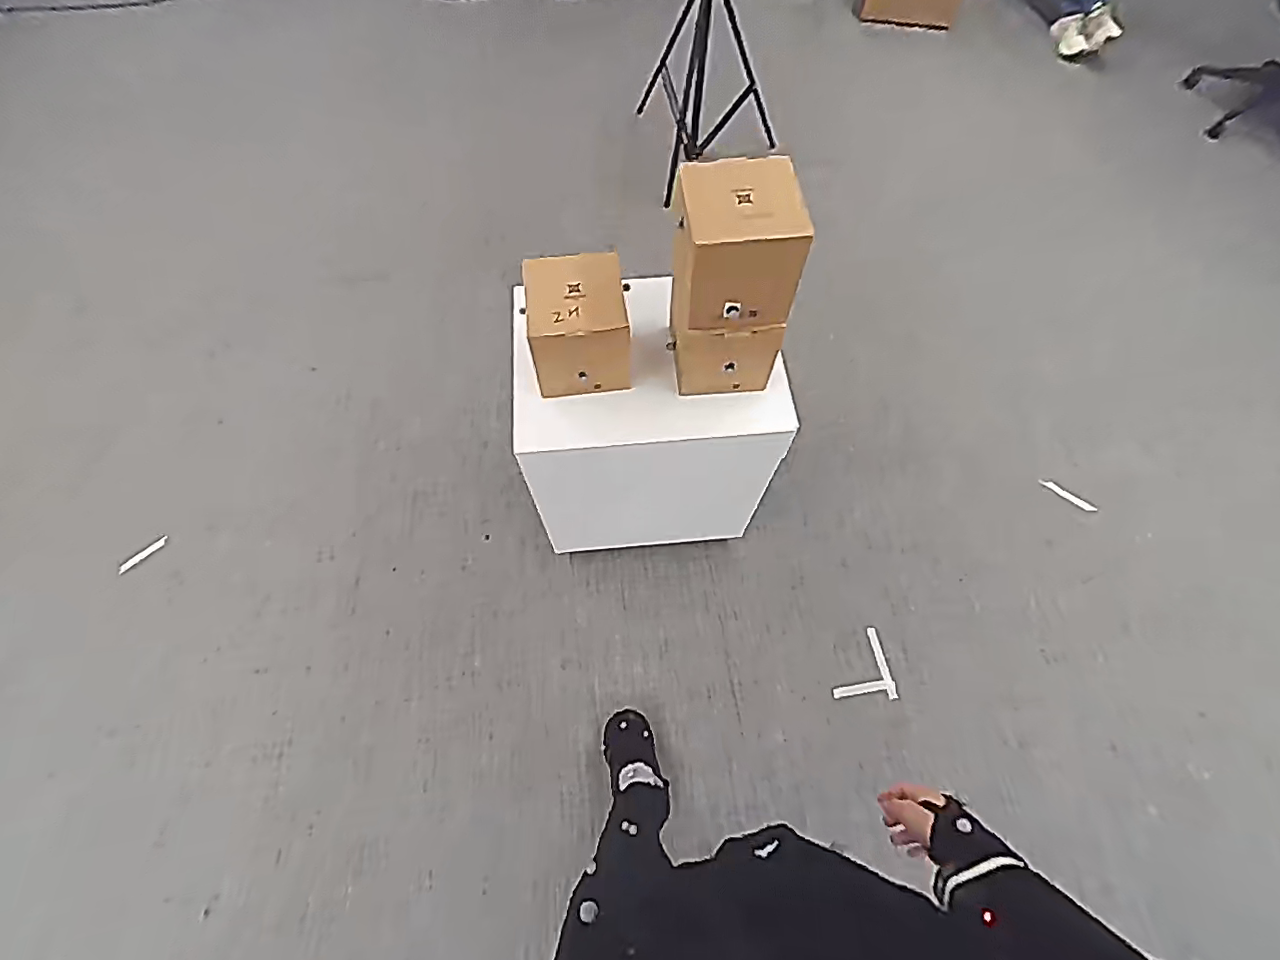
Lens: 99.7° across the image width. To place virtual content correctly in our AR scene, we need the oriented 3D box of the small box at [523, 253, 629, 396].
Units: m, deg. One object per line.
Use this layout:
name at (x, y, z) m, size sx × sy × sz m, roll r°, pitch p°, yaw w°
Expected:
small box at (-0.112, -0.273, 0.964) m, size 0.168 × 0.176 × 0.179 m, roll -7°, pitch 65°, yaw -4°

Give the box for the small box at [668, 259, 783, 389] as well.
small box at (0.143, -0.275, 0.968) m, size 0.168 × 0.176 × 0.179 m, roll -4°, pitch 65°, yaw -3°

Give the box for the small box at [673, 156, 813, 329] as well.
small box at (0.144, -0.357, 0.828) m, size 0.168 × 0.176 × 0.179 m, roll -6°, pitch 64°, yaw -2°
